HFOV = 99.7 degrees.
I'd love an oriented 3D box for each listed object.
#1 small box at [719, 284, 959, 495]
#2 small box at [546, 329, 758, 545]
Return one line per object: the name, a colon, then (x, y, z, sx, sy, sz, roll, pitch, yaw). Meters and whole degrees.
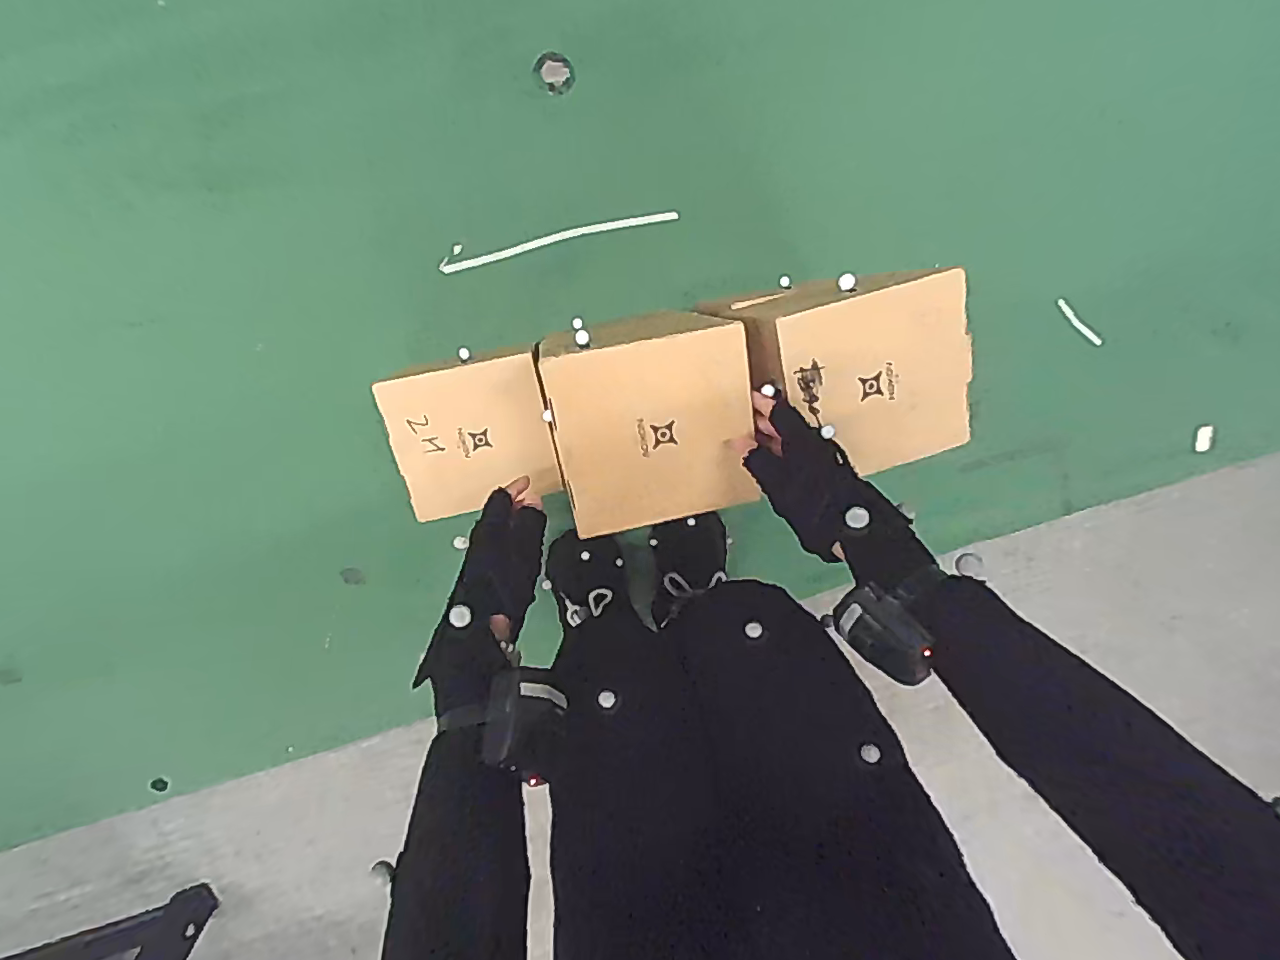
small box: (0.199, -0.106, 0.568, 0.179, 0.176, 0.168, -15, 110, -3)
small box: (0.005, -0.056, 0.550, 0.179, 0.176, 0.168, -11, 109, -5)
